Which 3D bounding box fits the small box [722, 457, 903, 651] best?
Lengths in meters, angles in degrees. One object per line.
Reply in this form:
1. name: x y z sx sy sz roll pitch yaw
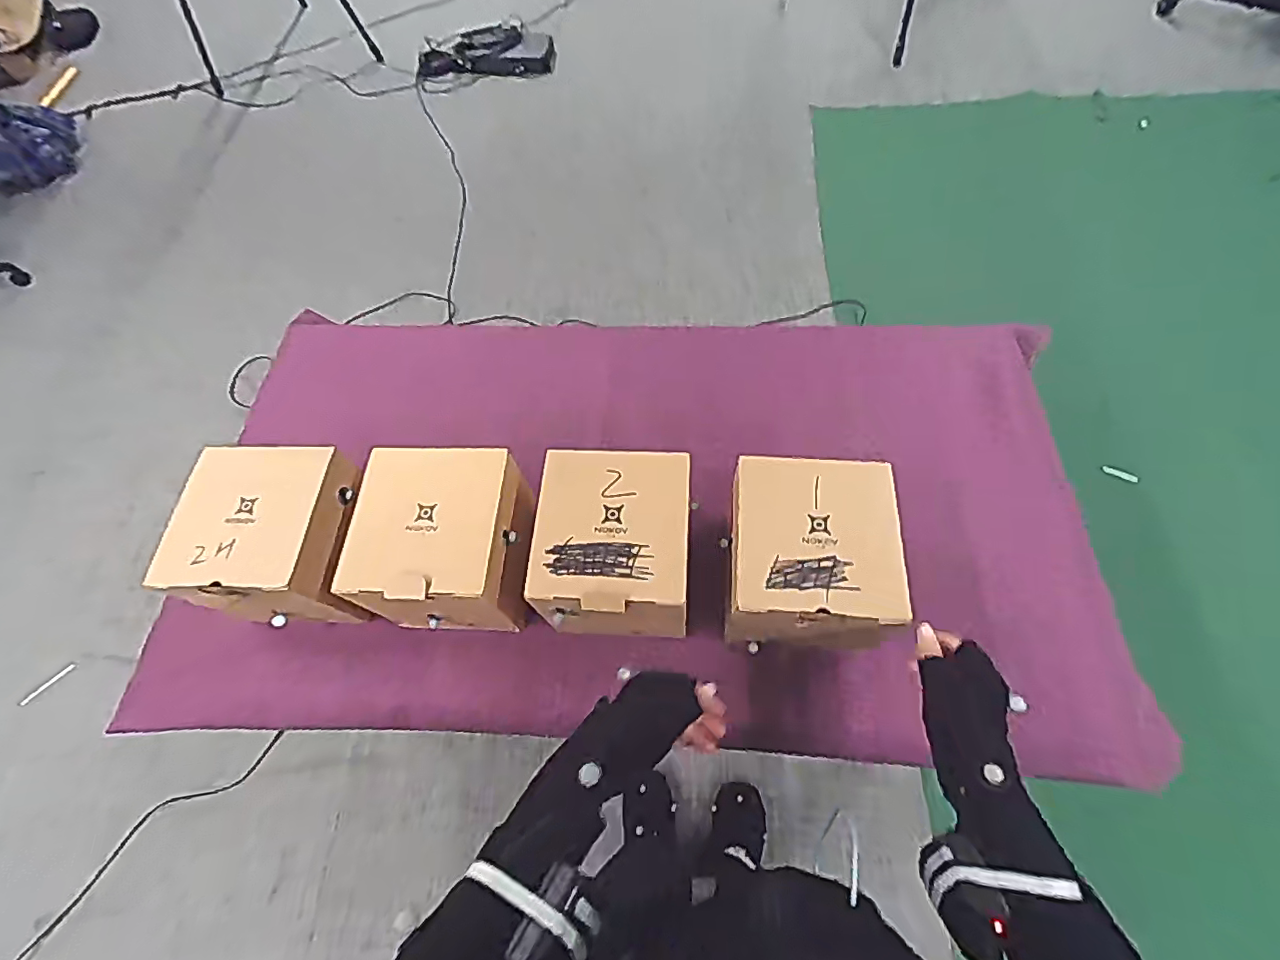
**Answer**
1. small box: 0.186 0.093 0.632 0.168 0.176 0.179 4 61 6
